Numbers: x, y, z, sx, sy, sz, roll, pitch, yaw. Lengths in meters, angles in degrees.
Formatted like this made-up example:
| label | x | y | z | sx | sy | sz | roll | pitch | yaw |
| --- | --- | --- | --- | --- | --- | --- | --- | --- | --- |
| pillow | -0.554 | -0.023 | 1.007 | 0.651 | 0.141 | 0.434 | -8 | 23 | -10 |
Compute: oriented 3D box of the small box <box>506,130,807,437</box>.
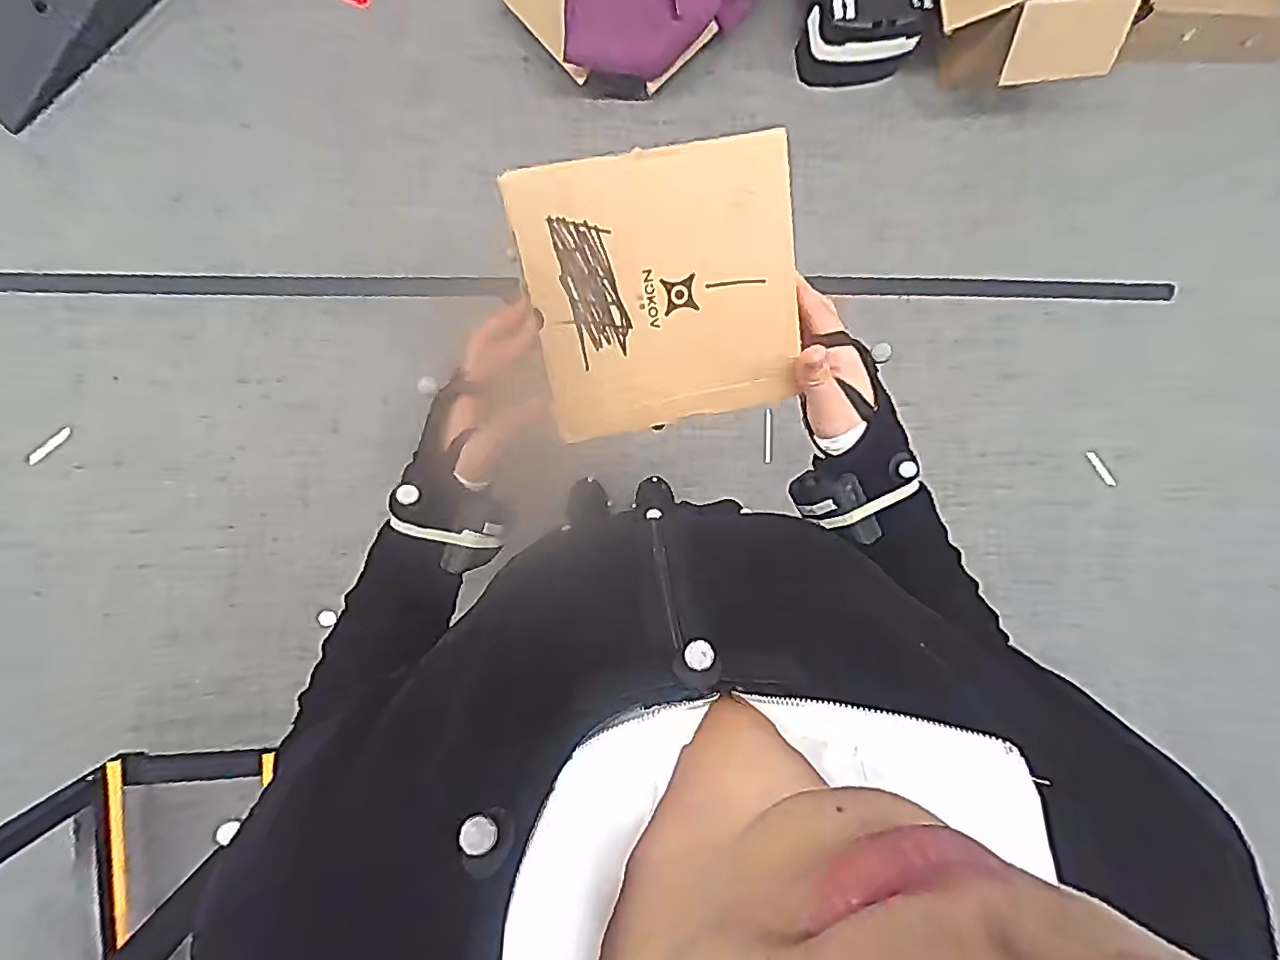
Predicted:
| label | x | y | z | sx | sy | sz | roll | pitch | yaw |
| --- | --- | --- | --- | --- | --- | --- | --- | --- | --- |
| small box | 0.007 | -0.142 | 0.416 | 0.179 | 0.176 | 0.168 | -12 | 110 | -6 |
